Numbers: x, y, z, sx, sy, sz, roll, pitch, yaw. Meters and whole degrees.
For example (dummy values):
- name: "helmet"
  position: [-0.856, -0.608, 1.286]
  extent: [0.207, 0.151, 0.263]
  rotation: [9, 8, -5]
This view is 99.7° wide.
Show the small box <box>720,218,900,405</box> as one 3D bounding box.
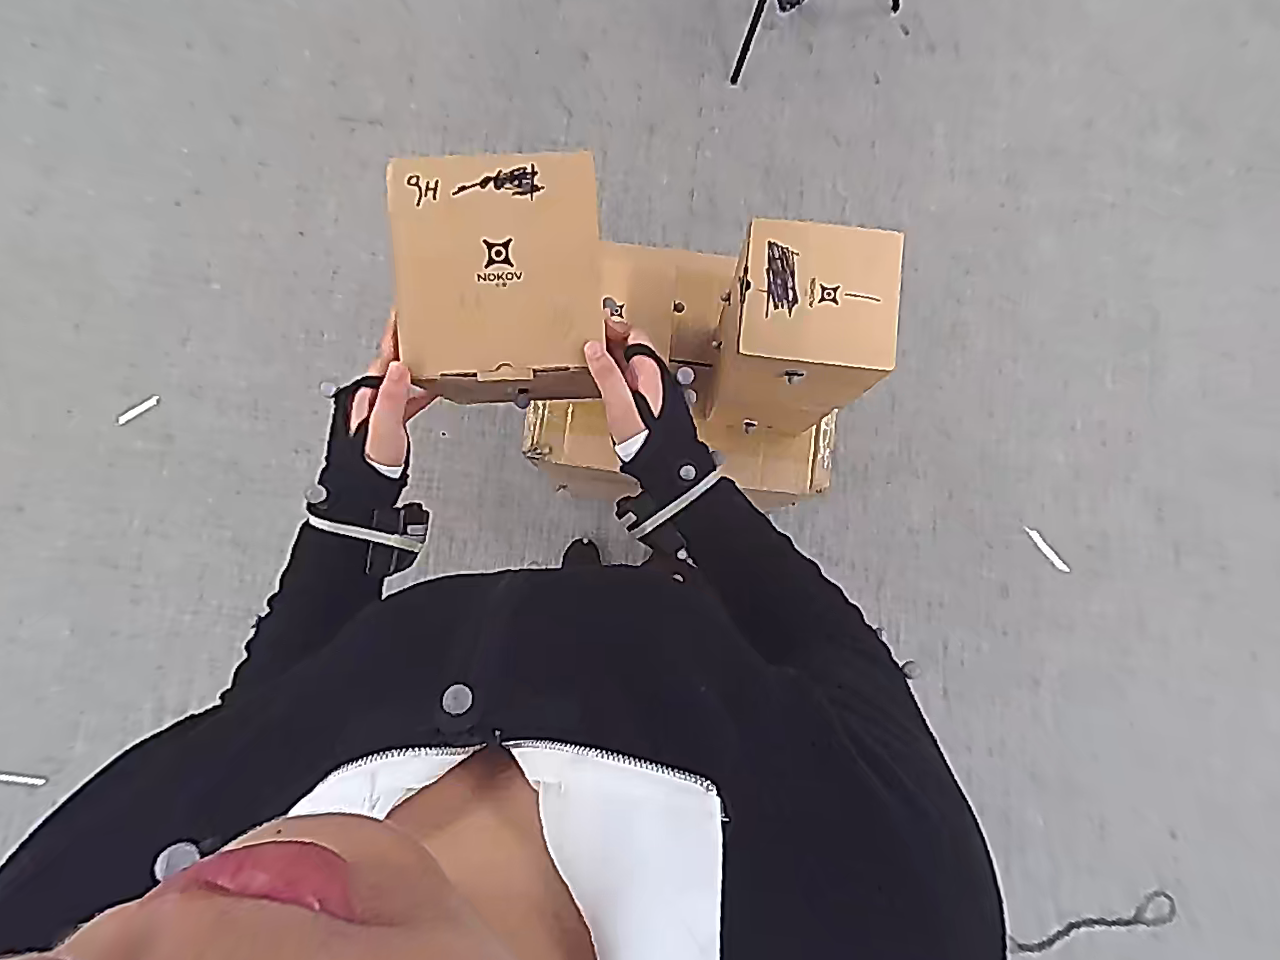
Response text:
- name: "small box"
  position: [0.202, -0.201, 0.687]
  extent: [0.179, 0.176, 0.168]
  rotation: [7, 83, 2]

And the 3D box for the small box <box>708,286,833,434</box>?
- name: "small box"
  position: [0.202, -0.181, 0.850]
  extent: [0.168, 0.176, 0.179]
  rotation: [7, 84, 3]

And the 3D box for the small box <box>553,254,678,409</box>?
- name: "small box"
  position: [-0.037, -0.224, 0.853]
  extent: [0.168, 0.176, 0.179]
  rotation: [6, 83, -1]
